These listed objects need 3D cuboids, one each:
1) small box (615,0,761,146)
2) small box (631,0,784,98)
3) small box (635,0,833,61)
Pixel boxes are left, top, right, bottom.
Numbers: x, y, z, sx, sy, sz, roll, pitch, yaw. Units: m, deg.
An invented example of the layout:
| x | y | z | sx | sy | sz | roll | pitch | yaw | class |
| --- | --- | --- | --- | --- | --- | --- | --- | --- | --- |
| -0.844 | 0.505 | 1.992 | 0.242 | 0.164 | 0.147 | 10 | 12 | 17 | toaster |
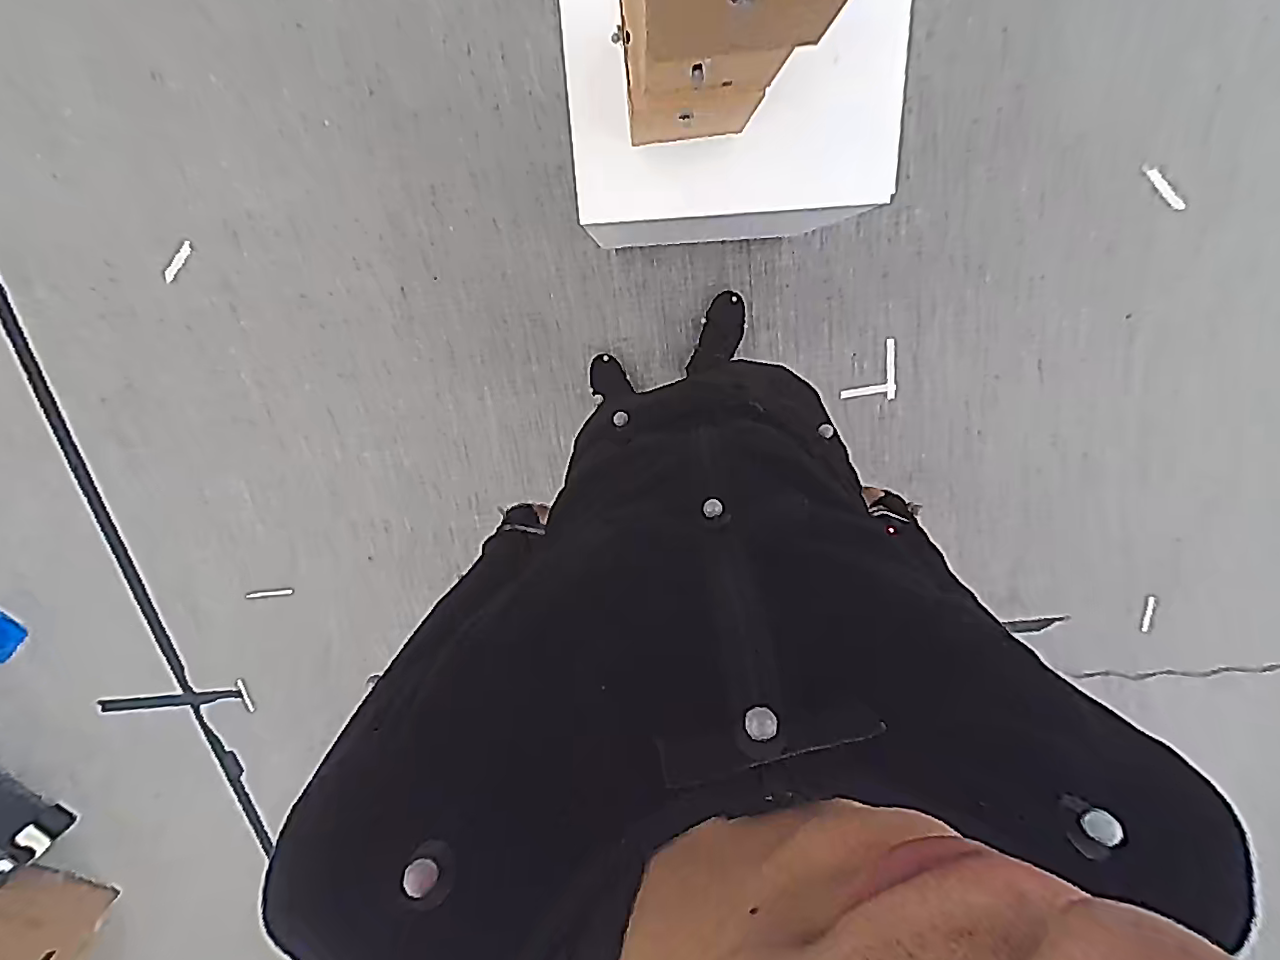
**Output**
| x | y | z | sx | sy | sz | roll | pitch | yaw | class |
| --- | --- | --- | --- | --- | --- | --- | --- | --- | --- |
| 0.061 | -0.582 | 0.748 | 0.179 | 0.176 | 0.168 | -7 | 109 | 1 | small box |
| 0.074 | -0.545 | 0.590 | 0.168 | 0.176 | 0.179 | -5 | 108 | 1 | small box |
| 0.079 | -0.475 | 0.440 | 0.179 | 0.176 | 0.168 | -6 | 109 | 1 | small box |
